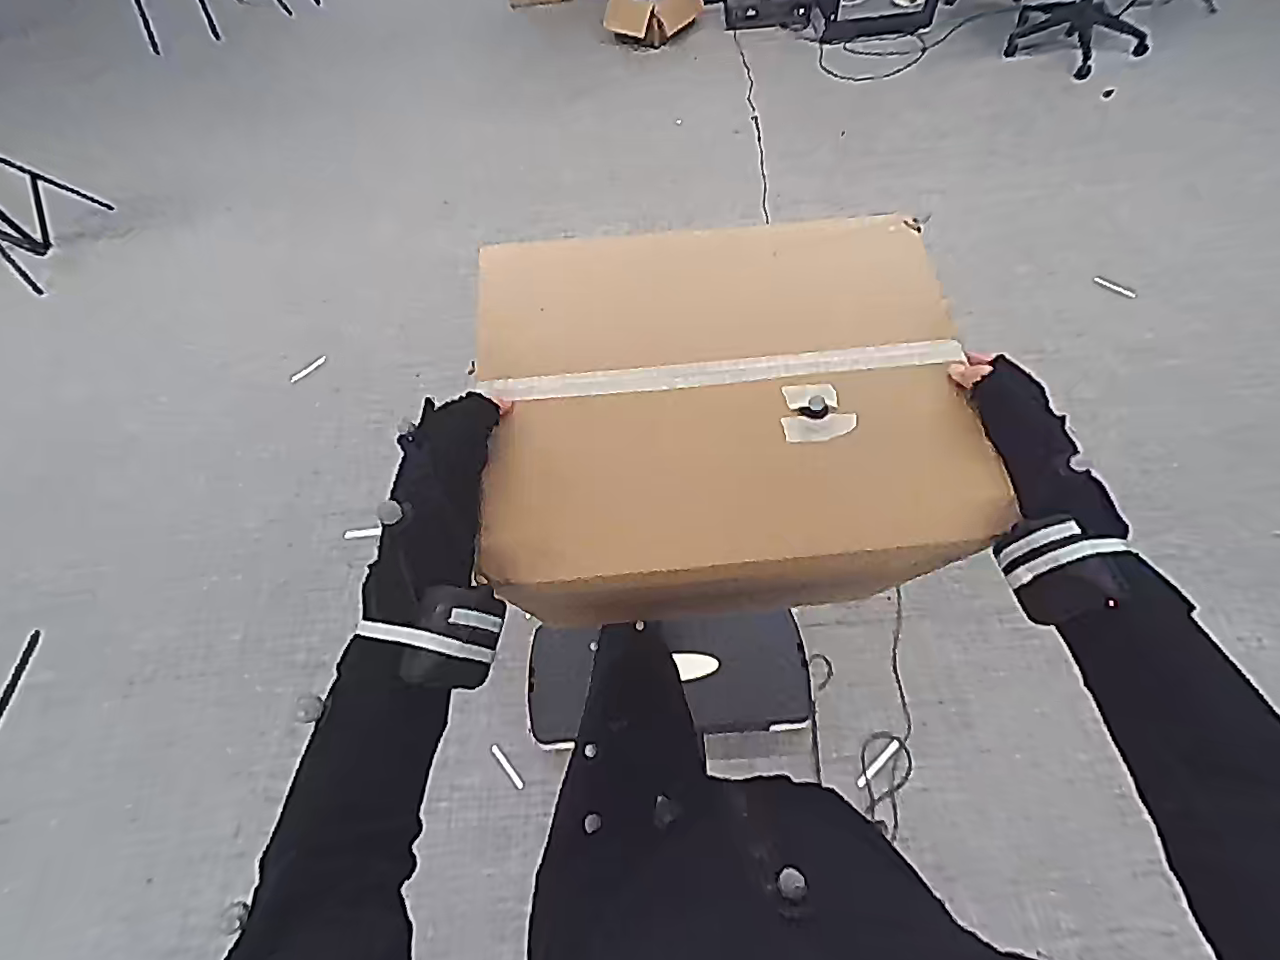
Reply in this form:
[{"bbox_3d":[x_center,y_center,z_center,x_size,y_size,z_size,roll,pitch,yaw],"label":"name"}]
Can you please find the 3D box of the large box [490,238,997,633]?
[{"bbox_3d":[0.069,-0.022,0.608,0.408,0.320,0.320,-5,68,-2],"label":"large box"}]
